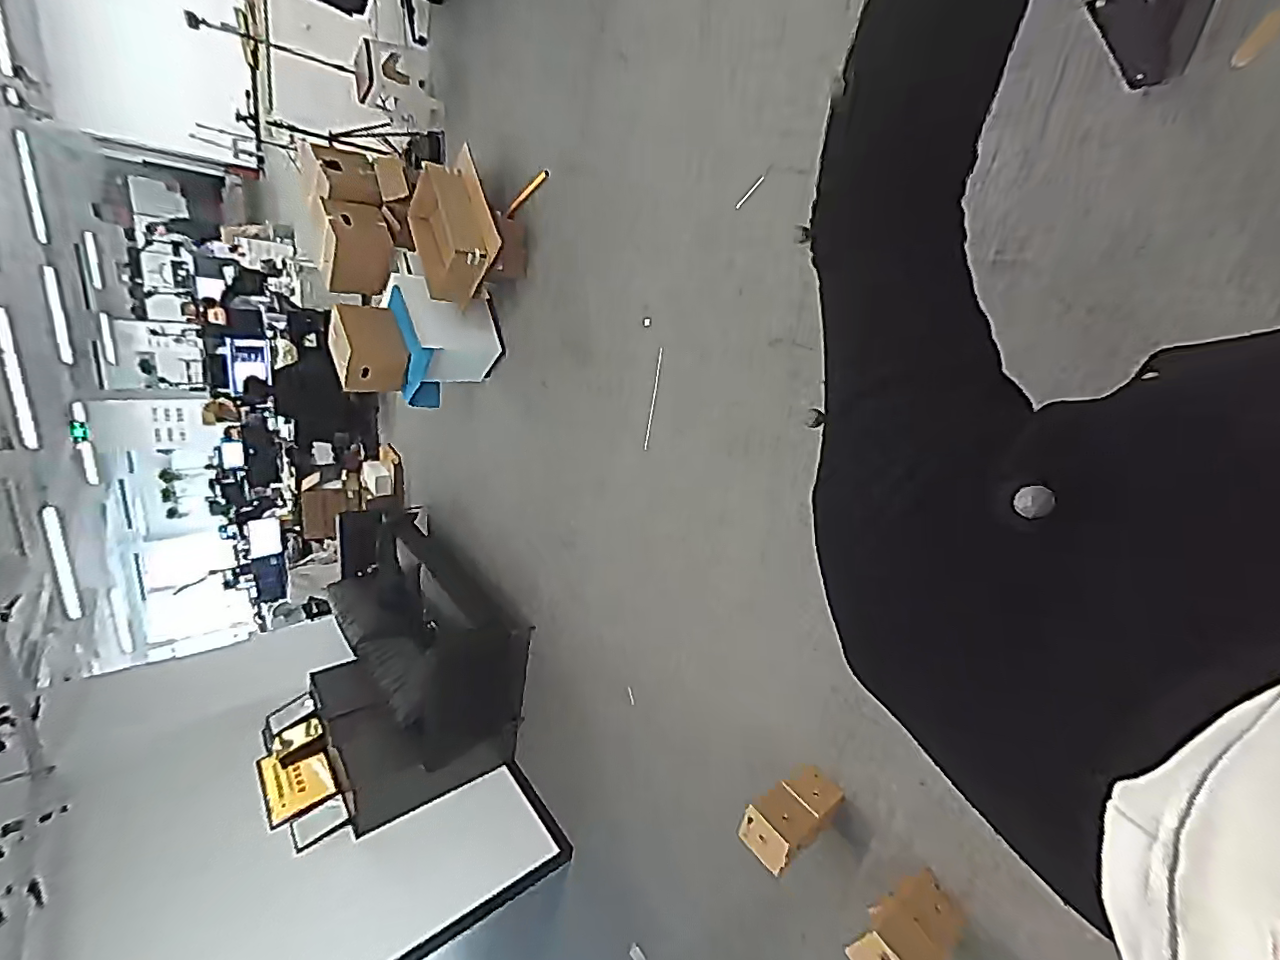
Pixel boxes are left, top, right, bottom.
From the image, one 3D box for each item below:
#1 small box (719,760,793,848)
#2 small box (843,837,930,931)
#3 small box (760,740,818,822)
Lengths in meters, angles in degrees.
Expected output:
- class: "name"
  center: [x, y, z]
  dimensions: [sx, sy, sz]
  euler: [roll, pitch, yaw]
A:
- class: "small box"
  center: [0.416, 1.143, 1.925]
  dimensions: [0.179, 0.176, 0.168]
  euler: [33, 121, 39]
- class: "small box"
  center: [0.809, 1.308, 1.759]
  dimensions: [0.168, 0.176, 0.179]
  euler: [52, 132, 29]
- class: "small box"
  center: [0.543, 1.119, 2.027]
  dimensions: [0.168, 0.176, 0.179]
  euler: [32, 121, 41]
